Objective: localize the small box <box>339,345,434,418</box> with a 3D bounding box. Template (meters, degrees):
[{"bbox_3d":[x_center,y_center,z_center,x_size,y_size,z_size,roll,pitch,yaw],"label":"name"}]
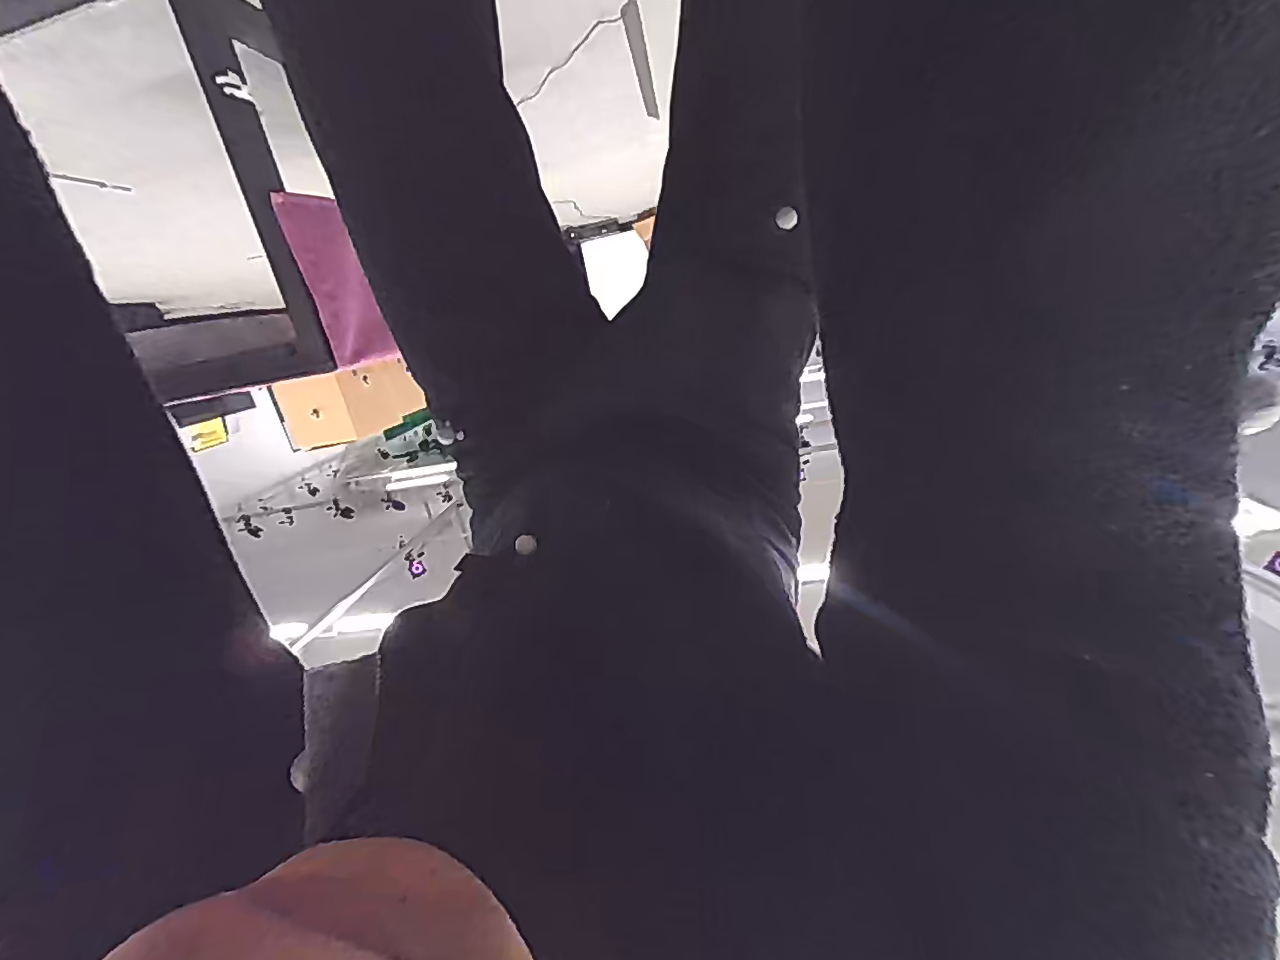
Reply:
[{"bbox_3d":[-0.739,-0.290,1.569,0.179,0.176,0.168,-8,-161,15],"label":"small box"}]
